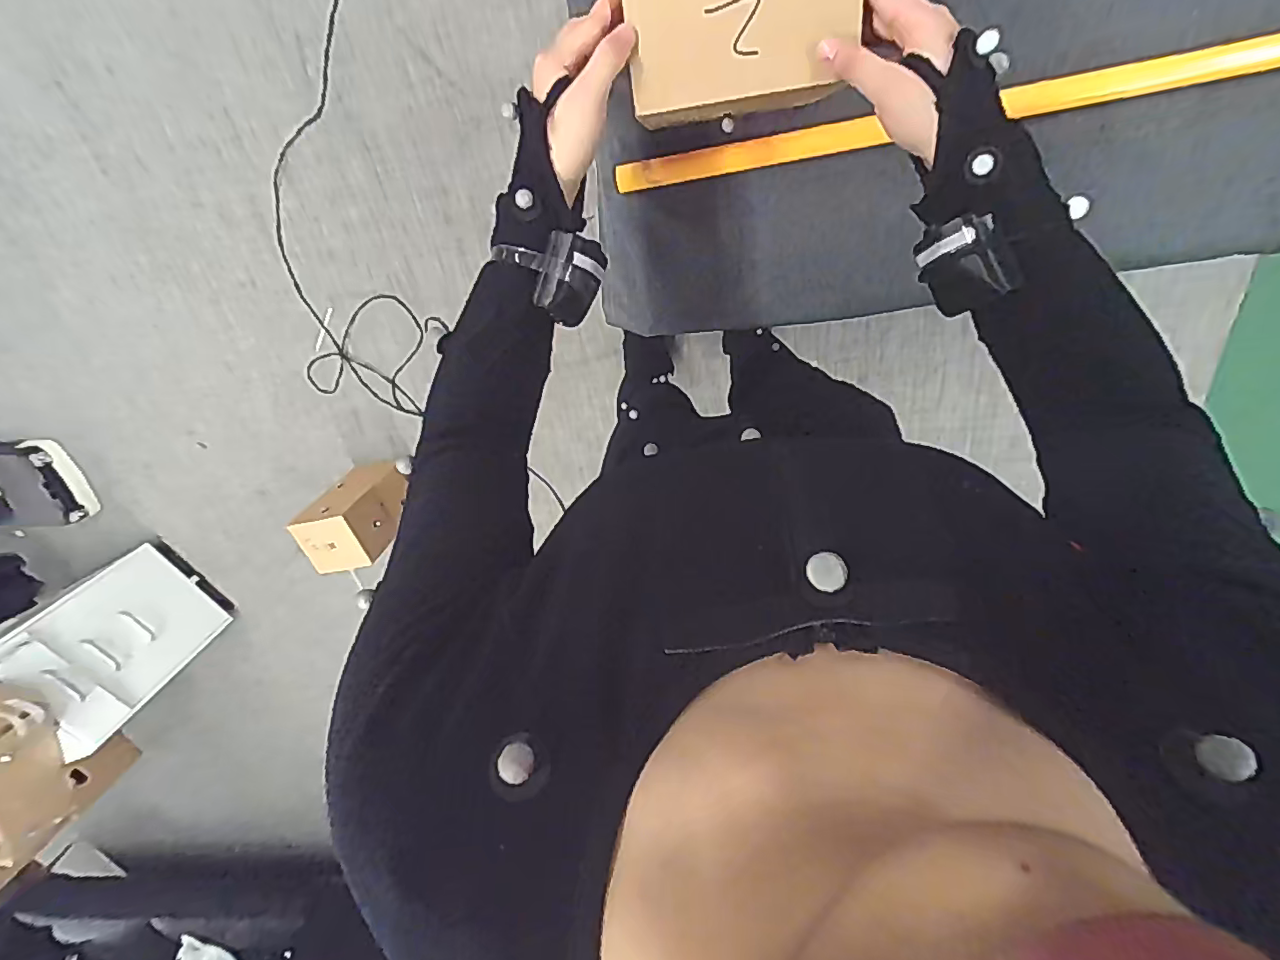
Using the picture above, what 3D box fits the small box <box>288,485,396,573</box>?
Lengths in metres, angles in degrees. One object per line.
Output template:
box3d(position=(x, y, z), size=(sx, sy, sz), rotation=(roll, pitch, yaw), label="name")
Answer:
box3d(position=(-0.806, 0.130, 1.489), size=(0.179, 0.176, 0.168), rotation=(-10, 118, 13), label="small box")

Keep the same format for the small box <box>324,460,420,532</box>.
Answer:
box3d(position=(-0.796, 0.053, 1.635), size=(0.179, 0.176, 0.168), rotation=(-9, 119, 12), label="small box")
